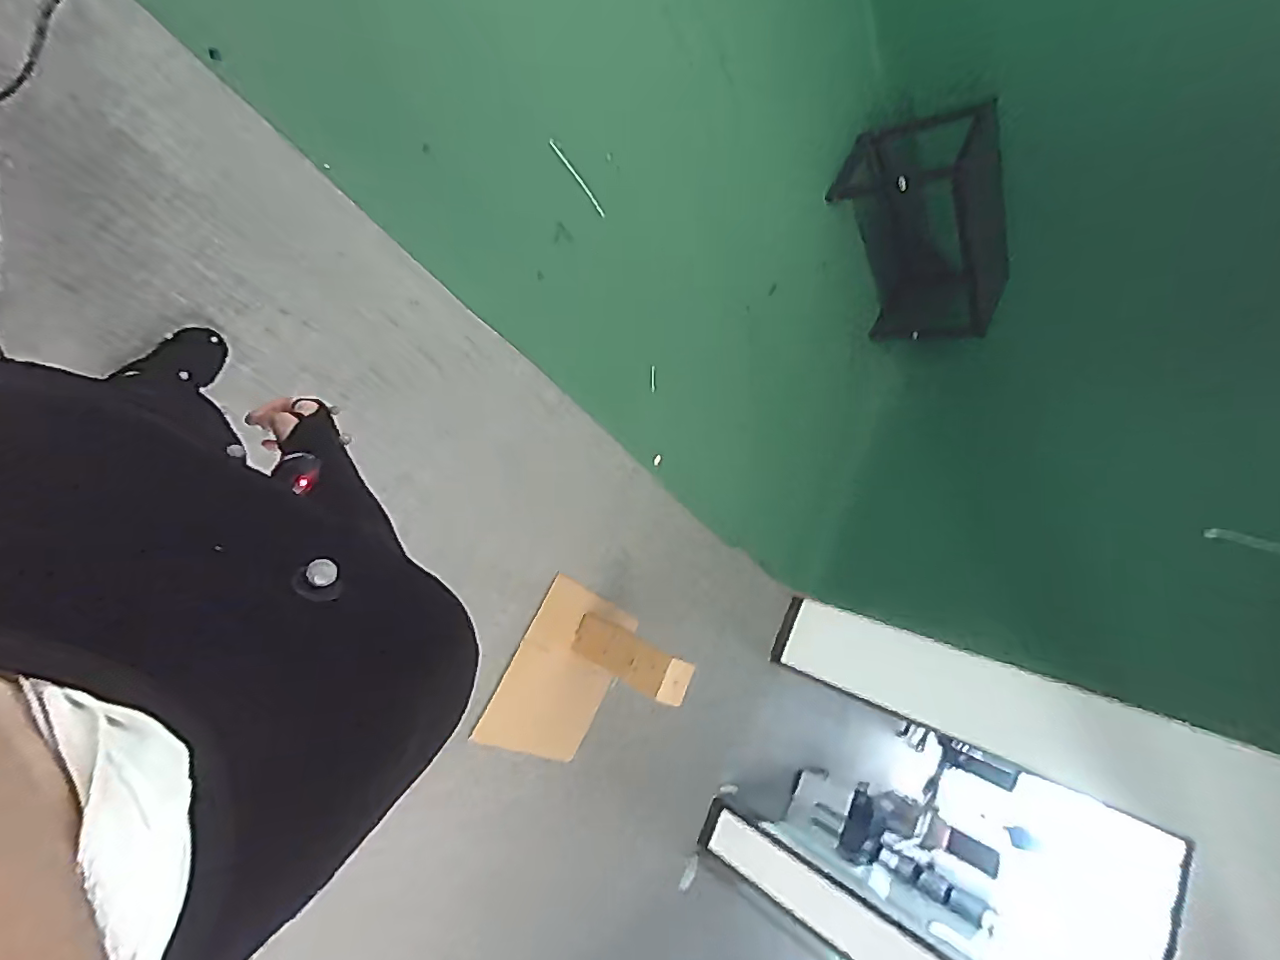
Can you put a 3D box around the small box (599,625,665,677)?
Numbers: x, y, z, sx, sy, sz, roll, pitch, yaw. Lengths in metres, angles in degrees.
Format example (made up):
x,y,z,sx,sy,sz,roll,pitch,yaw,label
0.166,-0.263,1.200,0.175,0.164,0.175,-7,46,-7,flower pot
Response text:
x,y,z,sx,sy,sz,roll,pitch,yaw,label
-0.036,0.706,2.196,0.179,0.176,0.168,37,72,-46,small box

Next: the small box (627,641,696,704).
x,y,z,sx,sy,sz,roll,pitch,yaw,label
0.079,0.738,2.086,0.179,0.176,0.168,38,72,-45,small box

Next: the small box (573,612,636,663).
x,y,z,sx,sy,sz,roll,pitch,yaw,label
-0.153,0.679,2.306,0.179,0.176,0.168,32,76,-45,small box
